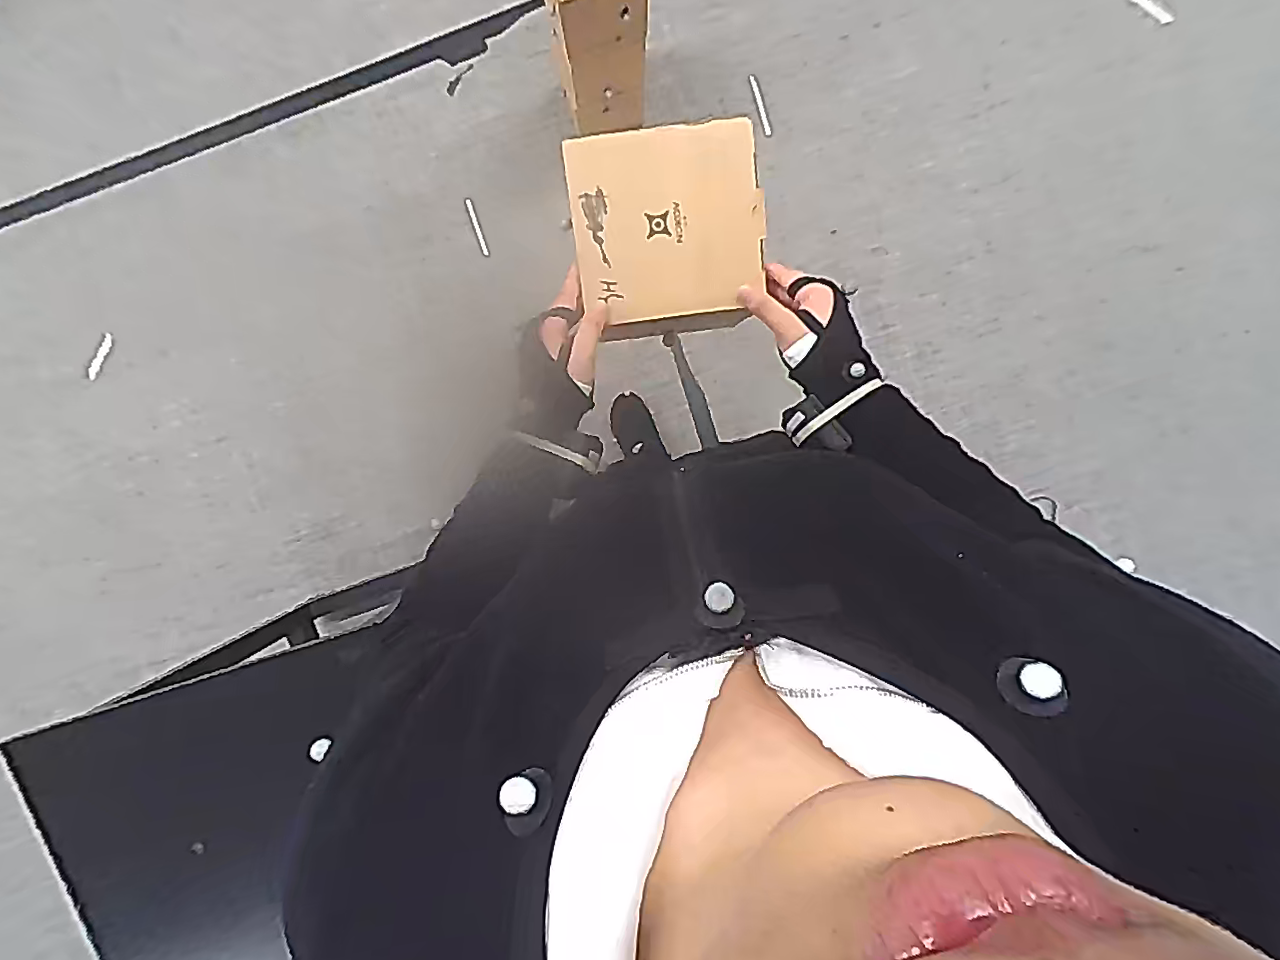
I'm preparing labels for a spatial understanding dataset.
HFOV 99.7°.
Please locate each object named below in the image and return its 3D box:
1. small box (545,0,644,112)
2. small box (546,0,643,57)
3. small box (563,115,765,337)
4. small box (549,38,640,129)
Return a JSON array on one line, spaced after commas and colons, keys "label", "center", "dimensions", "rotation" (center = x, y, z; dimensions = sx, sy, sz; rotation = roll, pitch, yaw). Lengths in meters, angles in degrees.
[{"label": "small box", "center": [-0.097, -0.940, 1.153], "dimensions": [0.168, 0.176, 0.179], "rotation": [-18, 97, 1]}, {"label": "small box", "center": [-0.094, -0.926, 0.991], "dimensions": [0.168, 0.176, 0.179], "rotation": [-19, 95, 0]}, {"label": "small box", "center": [0.020, -0.252, 0.575], "dimensions": [0.179, 0.176, 0.168], "rotation": [-7, 98, -1]}, {"label": "small box", "center": [-0.103, -0.962, 1.316], "dimensions": [0.179, 0.176, 0.168], "rotation": [-18, 96, 1]}]
